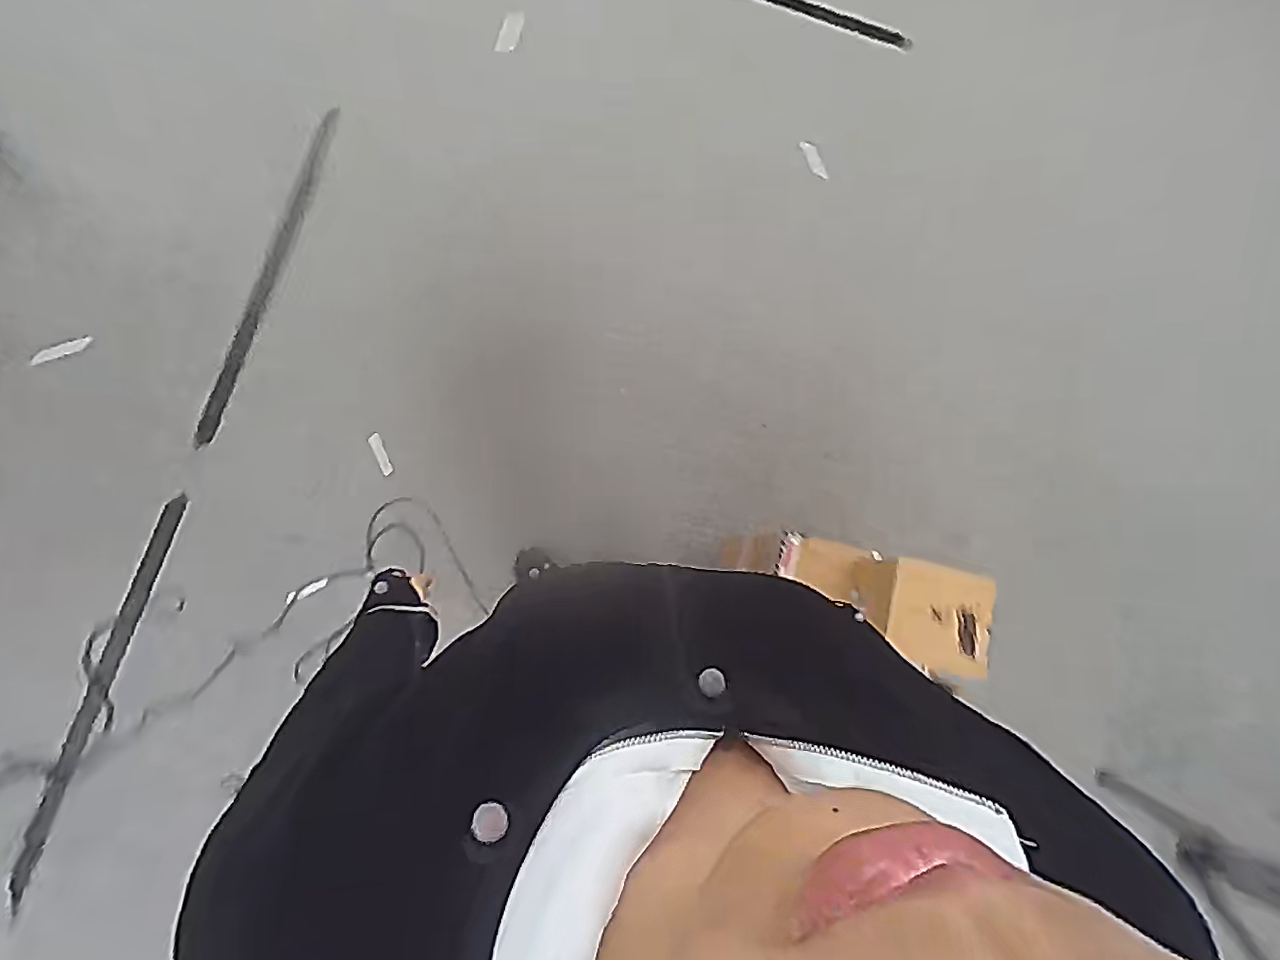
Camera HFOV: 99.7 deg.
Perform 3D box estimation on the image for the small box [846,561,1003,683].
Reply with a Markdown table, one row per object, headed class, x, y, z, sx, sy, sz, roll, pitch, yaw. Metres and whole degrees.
| class | x | y | z | sx | sy | sz | roll | pitch | yaw |
| --- | --- | --- | --- | --- | --- | --- | --- | --- | --- |
| small box | 0.500 | 0.245 | 0.969 | 0.179 | 0.176 | 0.168 | 15 | 80 | 0 |
